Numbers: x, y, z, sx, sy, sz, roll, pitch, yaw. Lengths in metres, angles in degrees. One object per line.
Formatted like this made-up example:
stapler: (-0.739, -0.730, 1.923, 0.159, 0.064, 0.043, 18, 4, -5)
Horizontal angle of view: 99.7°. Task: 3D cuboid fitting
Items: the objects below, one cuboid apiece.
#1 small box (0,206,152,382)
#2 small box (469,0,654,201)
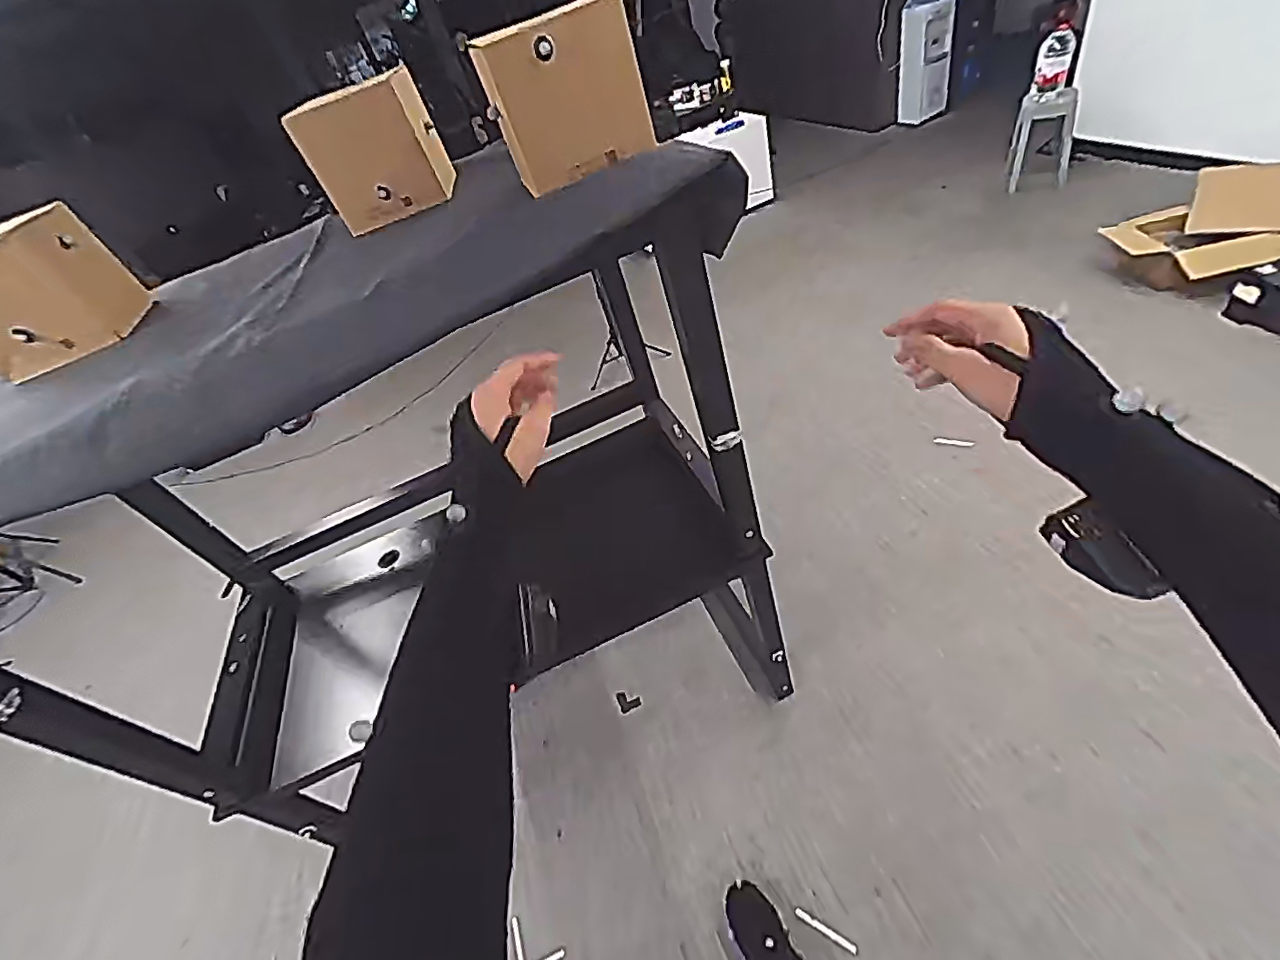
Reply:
small box: (-0.888, -0.274, 0.801, 0.168, 0.176, 0.179, -26, 44, -5)
small box: (-0.100, -0.481, 0.689, 0.168, 0.176, 0.179, -25, 41, -2)
